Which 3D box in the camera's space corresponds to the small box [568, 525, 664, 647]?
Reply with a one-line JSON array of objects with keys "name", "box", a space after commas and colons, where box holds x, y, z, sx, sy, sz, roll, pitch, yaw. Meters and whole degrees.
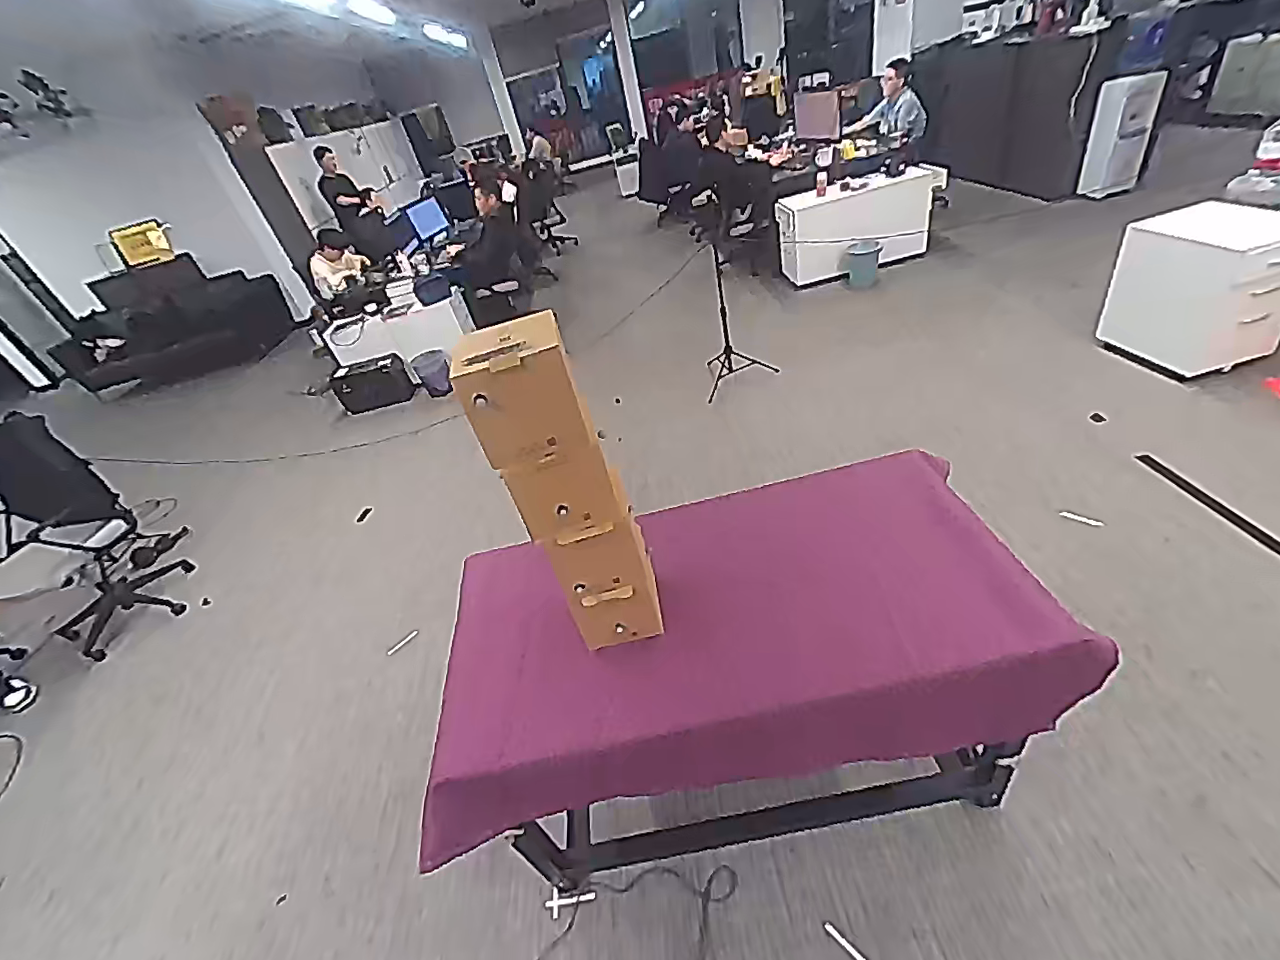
[{"name": "small box", "box": [-0.051, 0.229, 1.167, 0.168, 0.176, 0.179, -14, 37, 4]}]

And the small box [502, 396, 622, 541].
[{"name": "small box", "box": [-0.142, -0.022, 0.977, 0.168, 0.176, 0.179, -19, 37, -3]}]

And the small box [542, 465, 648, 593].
[{"name": "small box", "box": [-0.090, 0.102, 1.071, 0.168, 0.176, 0.179, -16, 36, 0]}]
